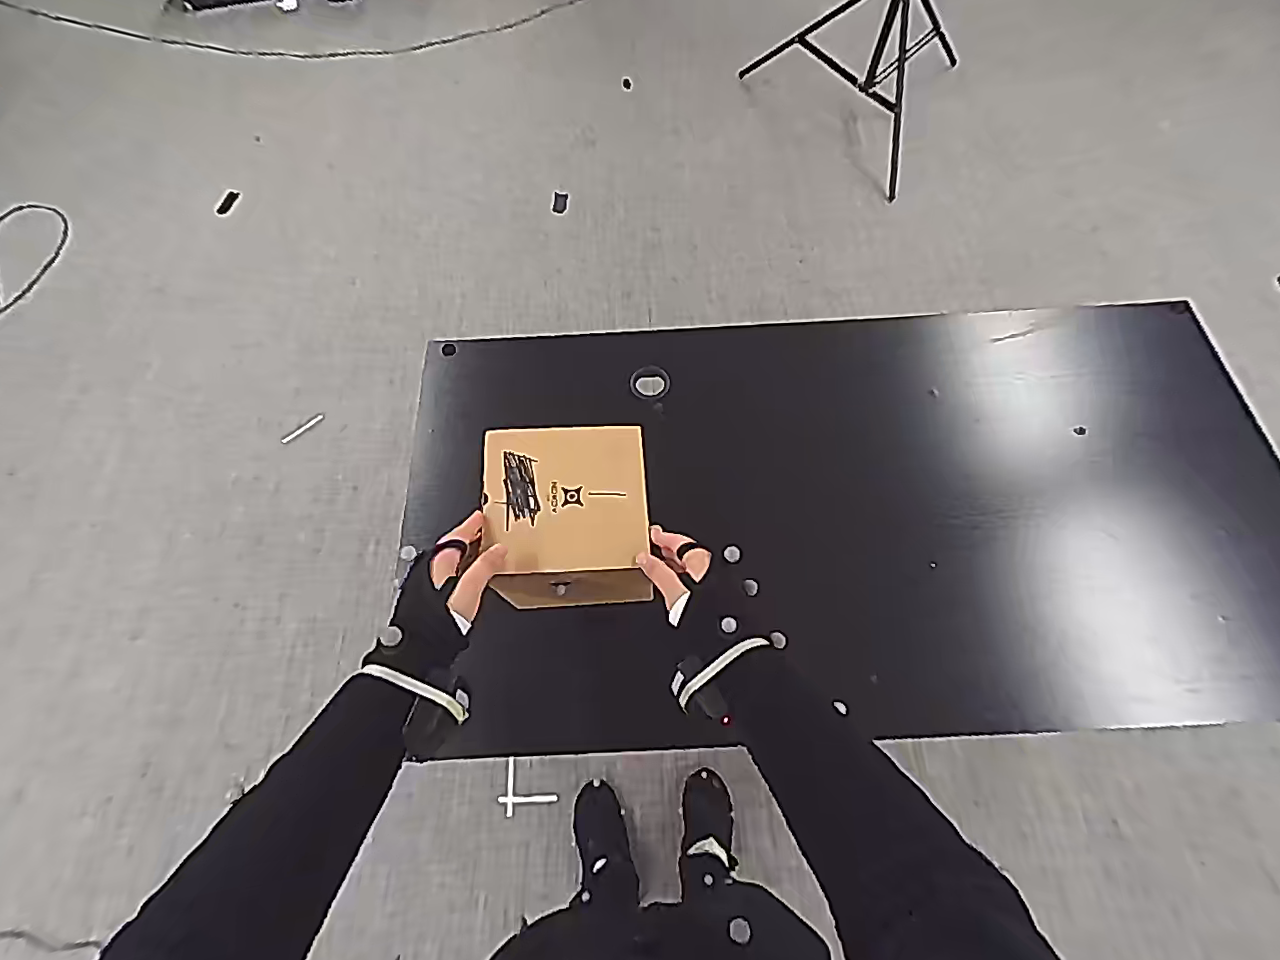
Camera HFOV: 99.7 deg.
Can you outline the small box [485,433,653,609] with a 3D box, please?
[{"bbox_3d":[-0.076,0.058,0.661,0.179,0.176,0.168,-4,66,0],"label":"small box"}]
